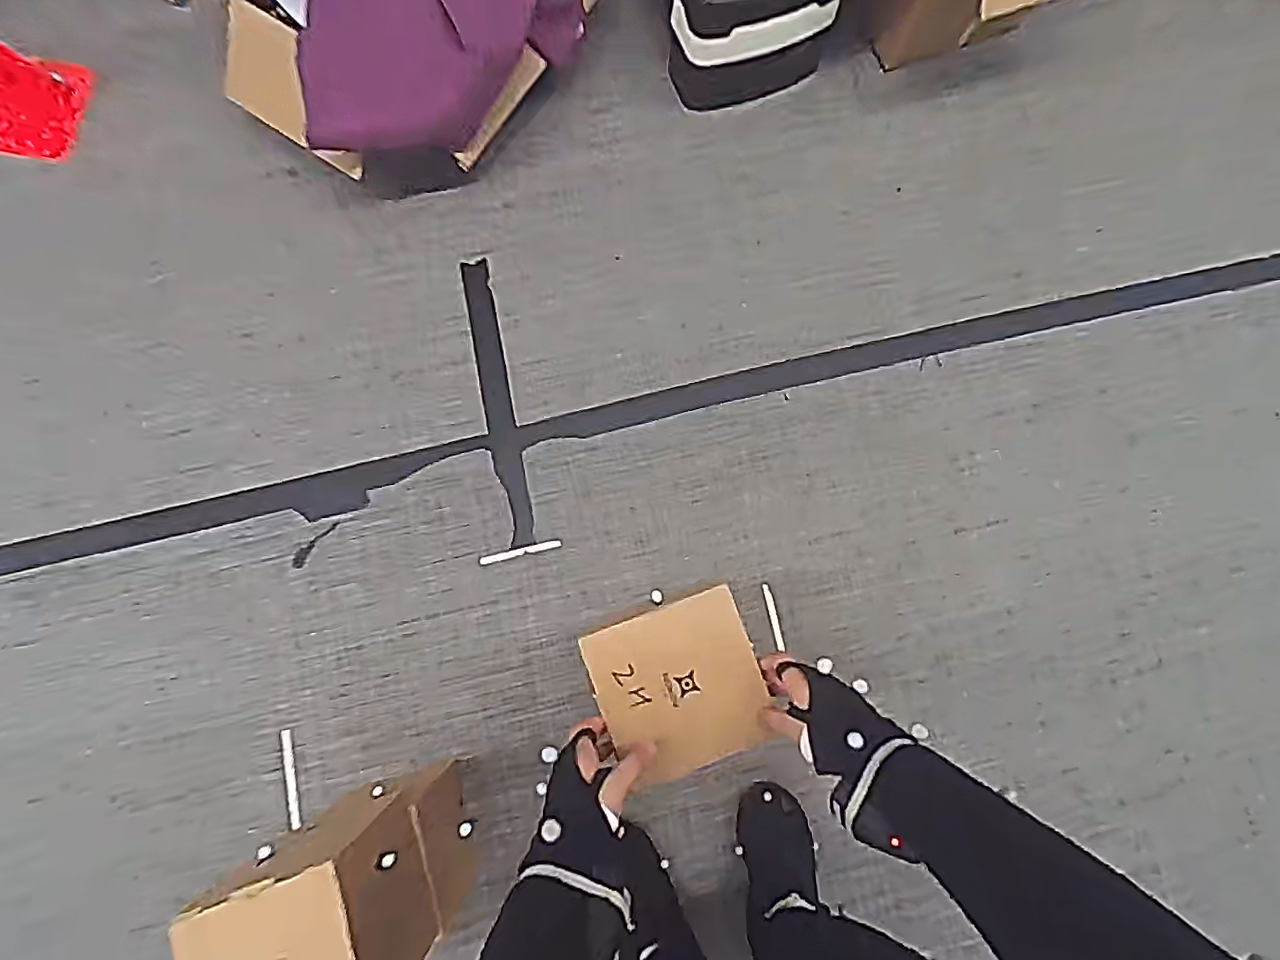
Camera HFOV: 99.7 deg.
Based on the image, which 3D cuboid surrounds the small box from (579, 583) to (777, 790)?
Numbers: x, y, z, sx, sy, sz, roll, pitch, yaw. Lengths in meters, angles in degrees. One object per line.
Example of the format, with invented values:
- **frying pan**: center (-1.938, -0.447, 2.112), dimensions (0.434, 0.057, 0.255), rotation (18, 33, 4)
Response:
- **small box**: center (0.038, 0.231, 0.656), dimensions (0.179, 0.176, 0.168), rotation (-19, 82, -4)

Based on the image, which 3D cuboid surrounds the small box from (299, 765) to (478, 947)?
- **small box**: center (-0.348, 0.528, 0.751), dimensions (0.179, 0.176, 0.168), rotation (-16, 82, -4)

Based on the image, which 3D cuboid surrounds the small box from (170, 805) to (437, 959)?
- **small box**: center (-0.348, 0.492, 0.592), dimensions (0.168, 0.176, 0.179), rotation (-20, 83, -2)
